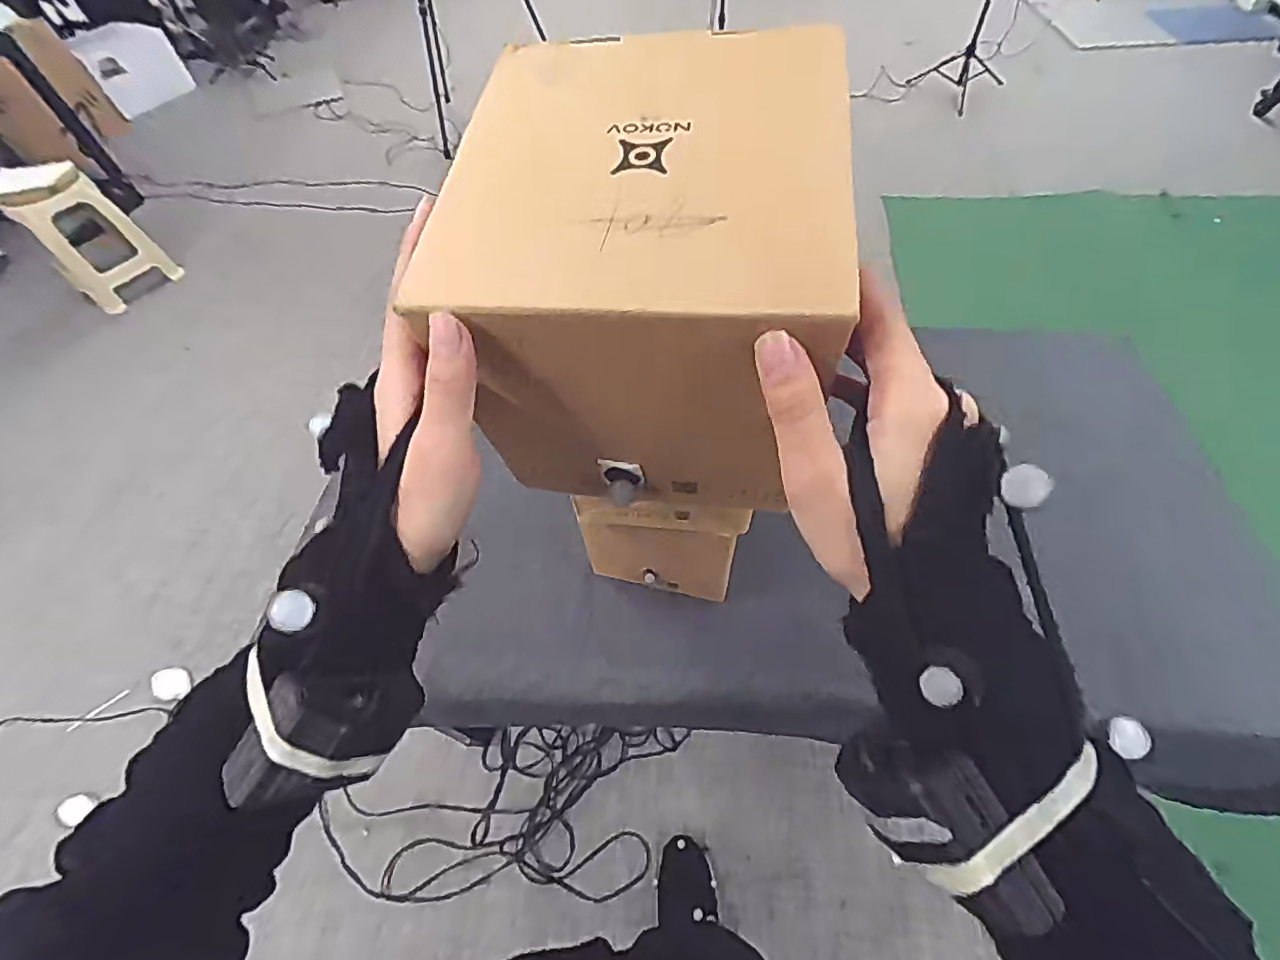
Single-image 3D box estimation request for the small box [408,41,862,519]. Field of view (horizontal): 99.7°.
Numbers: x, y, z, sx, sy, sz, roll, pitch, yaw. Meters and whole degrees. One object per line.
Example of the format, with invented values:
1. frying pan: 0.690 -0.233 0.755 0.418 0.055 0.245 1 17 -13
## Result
1. small box: 0.012 -0.095 0.295 0.168 0.176 0.179 4 65 9
